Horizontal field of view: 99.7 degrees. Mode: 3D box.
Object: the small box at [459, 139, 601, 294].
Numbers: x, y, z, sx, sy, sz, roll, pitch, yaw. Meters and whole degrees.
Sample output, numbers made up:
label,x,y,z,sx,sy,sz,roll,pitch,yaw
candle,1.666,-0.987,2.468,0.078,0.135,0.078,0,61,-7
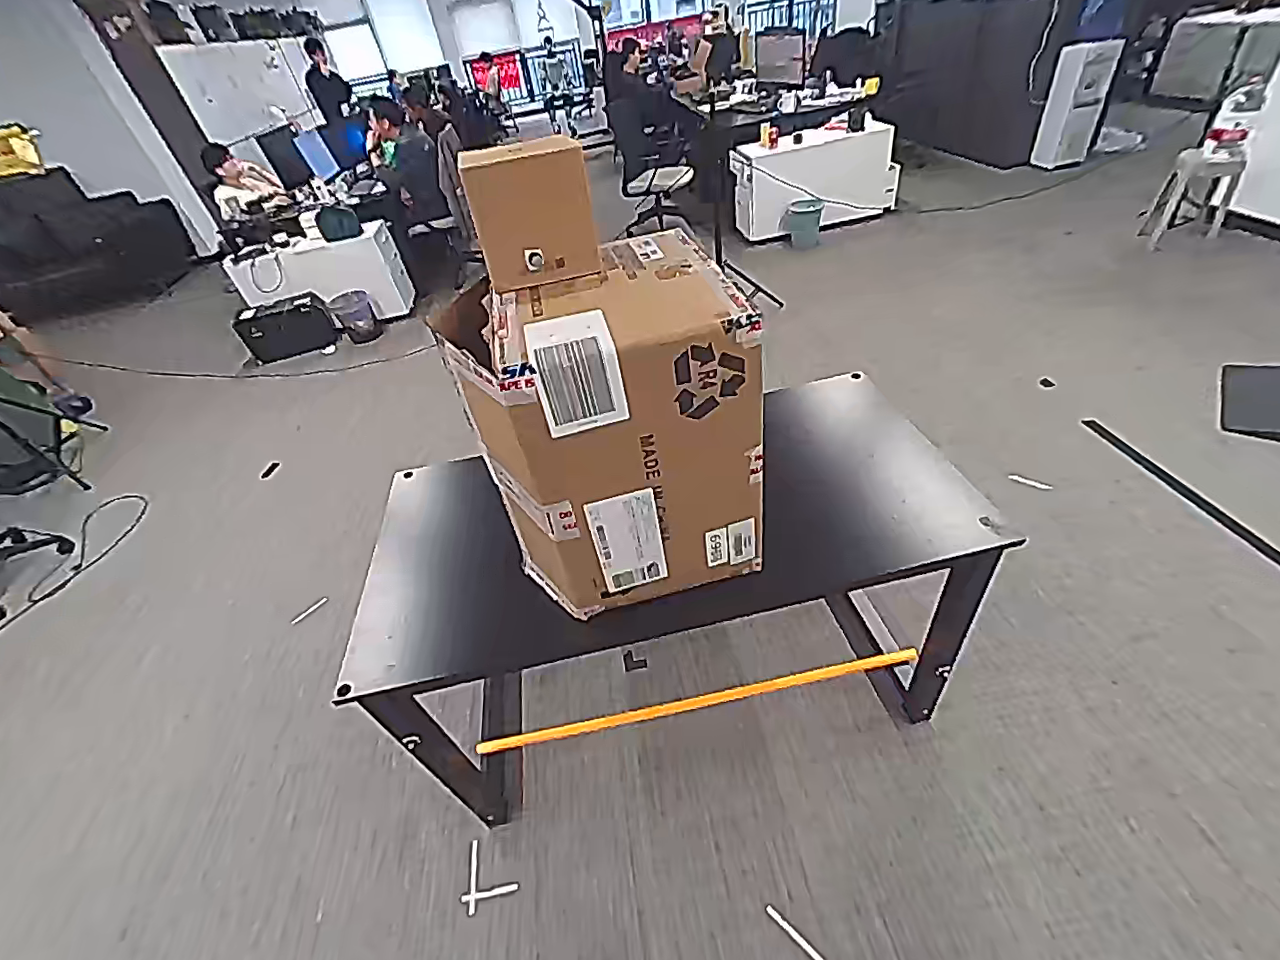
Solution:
label,x,y,z,sx,sy,sz,roll,pitch,yaw
small box,-0.166,-0.401,0.822,0.168,0.176,0.179,-16,40,-7
